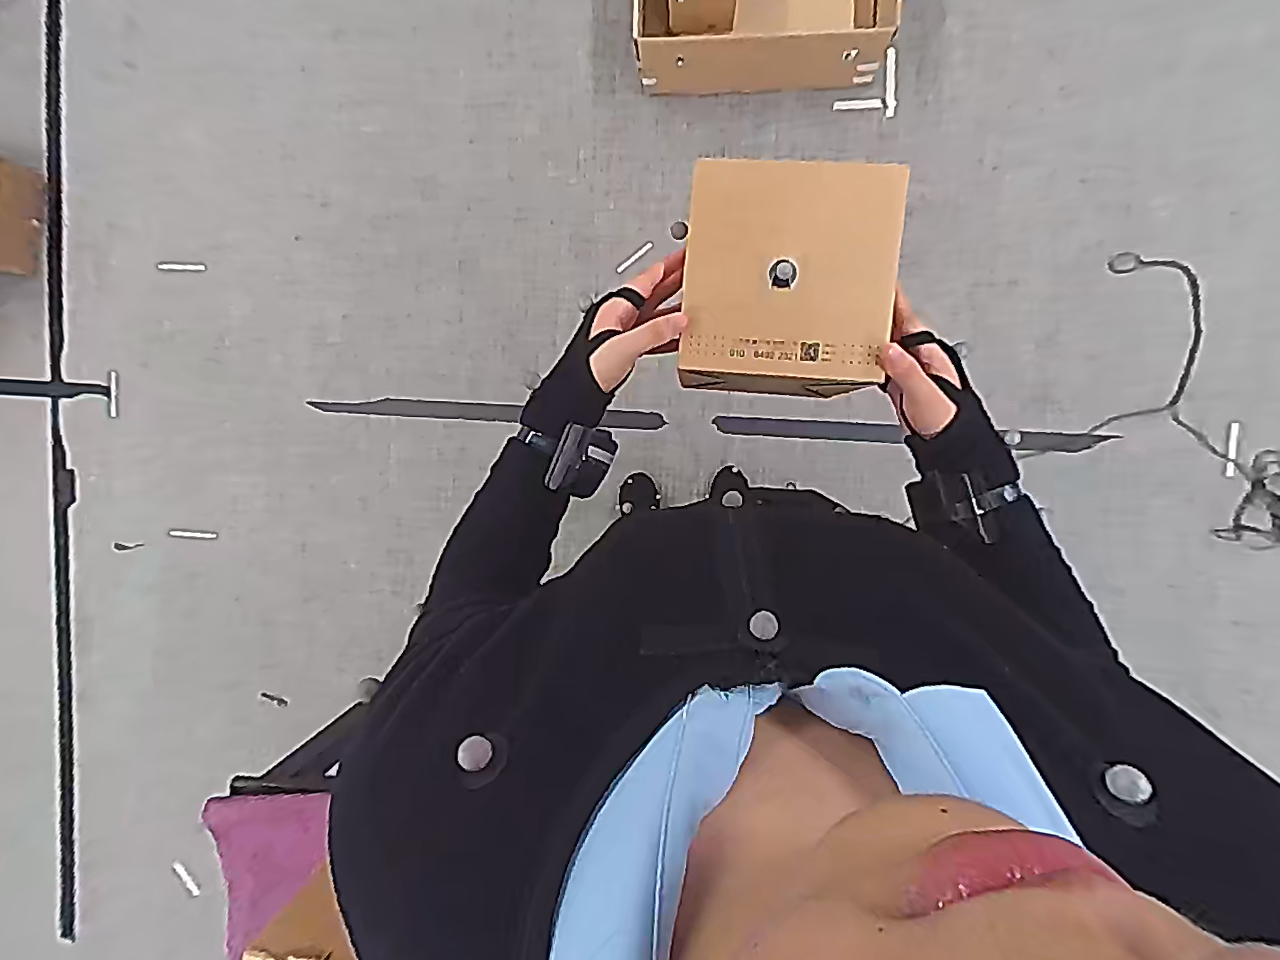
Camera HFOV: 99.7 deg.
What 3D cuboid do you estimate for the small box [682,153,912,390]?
[{"bbox_3d":[0.130,-0.175,0.505,0.168,0.179,0.176,6,96,6],"label":"small box"}]

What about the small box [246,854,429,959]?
[{"bbox_3d":[-0.416,0.681,0.760,0.168,0.176,0.179,6,94,5],"label":"small box"}]
